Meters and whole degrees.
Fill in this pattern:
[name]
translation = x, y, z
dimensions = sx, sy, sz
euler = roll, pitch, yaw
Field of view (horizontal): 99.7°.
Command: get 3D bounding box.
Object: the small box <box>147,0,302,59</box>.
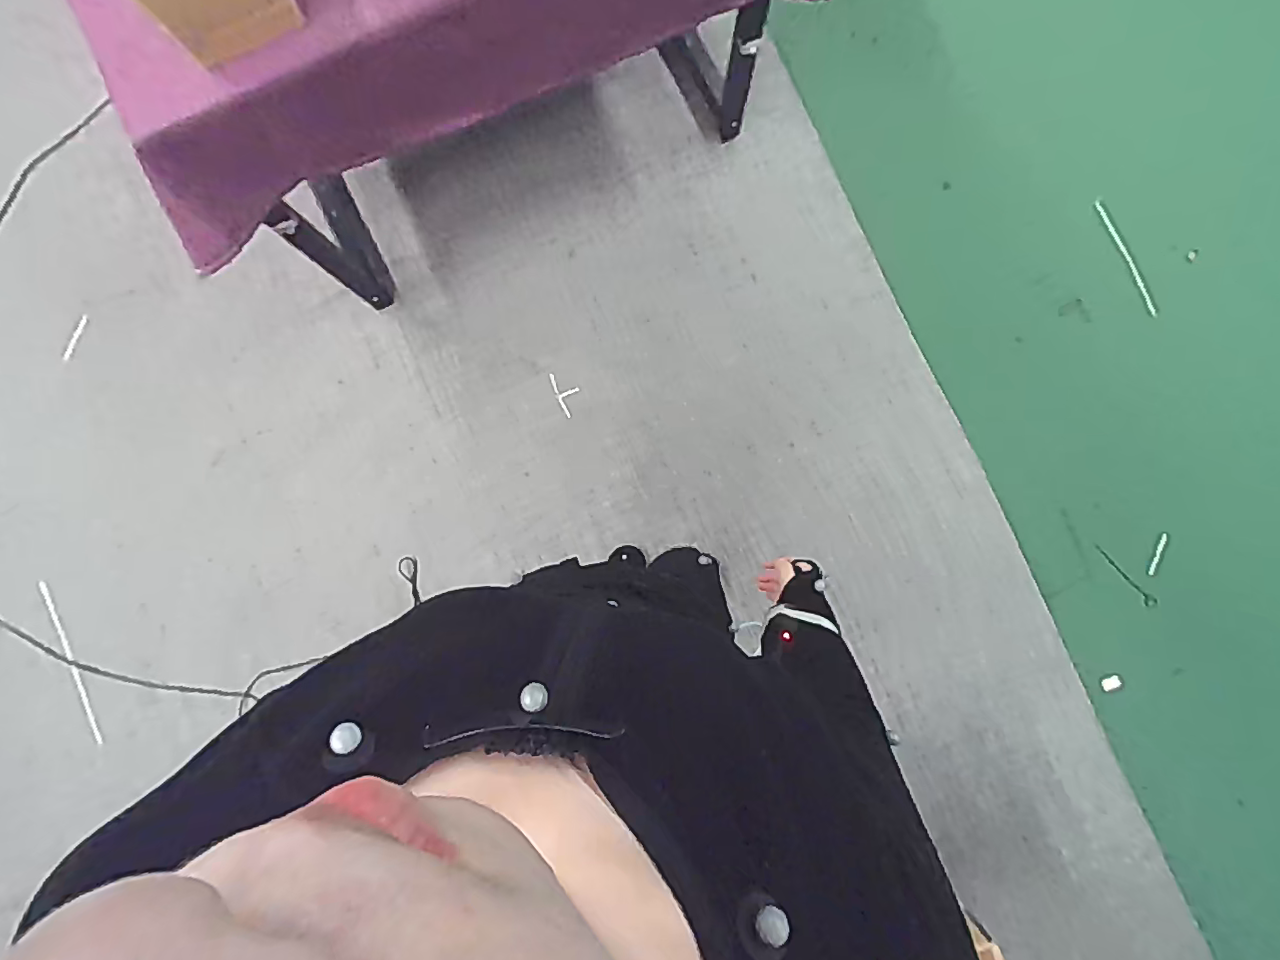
[small box]
translation = -0.628, -0.750, 0.758
dimensions = 0.179, 0.176, 0.168
euler = -26, 86, -3
